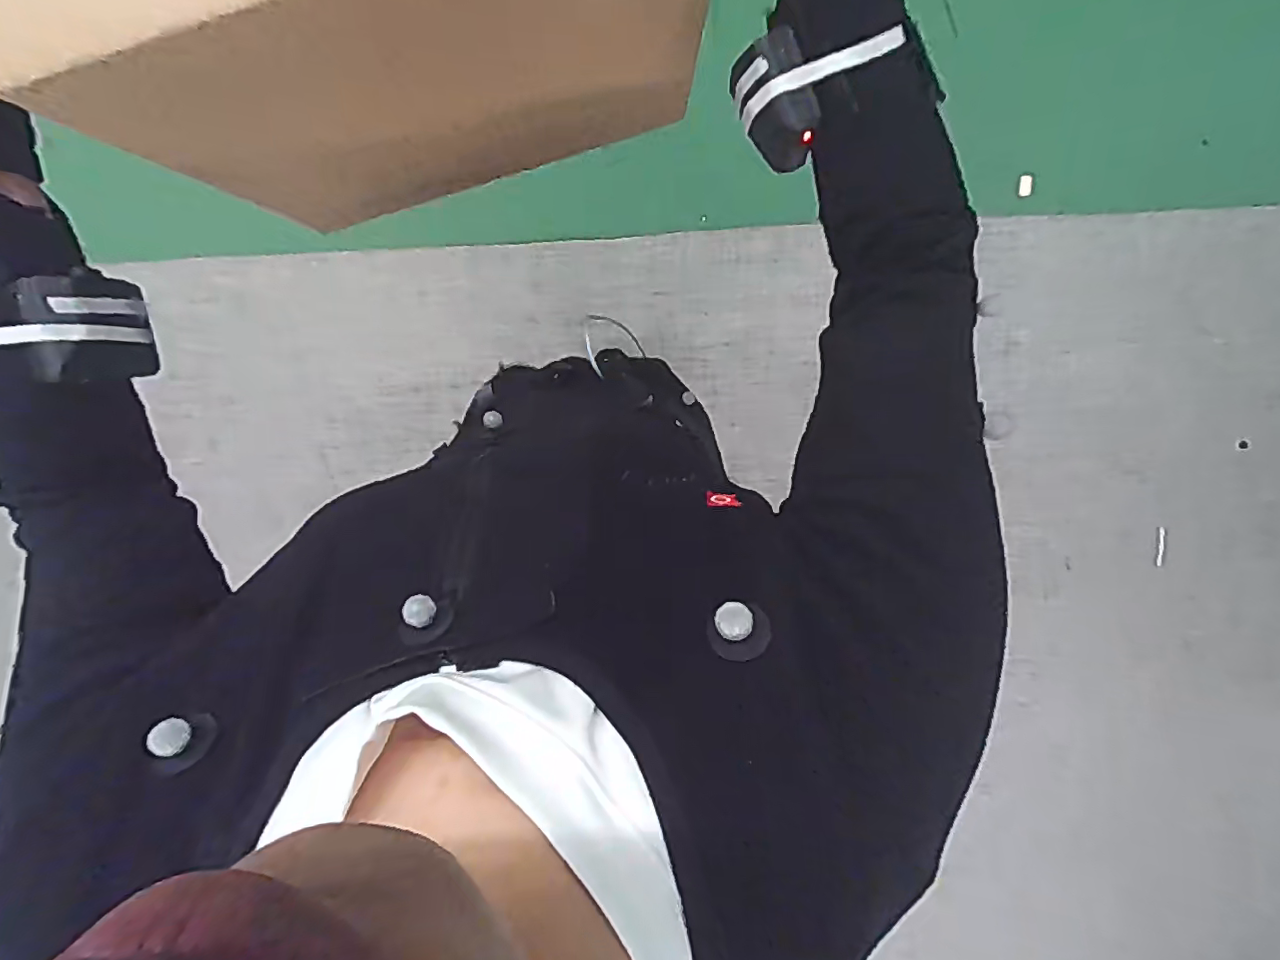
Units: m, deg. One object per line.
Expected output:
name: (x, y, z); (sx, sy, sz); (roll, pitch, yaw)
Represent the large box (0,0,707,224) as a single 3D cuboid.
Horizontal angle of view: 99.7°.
large box: (-0.182, -0.438, 0.390); (0.408, 0.320, 0.320); (-17, 103, 2)
